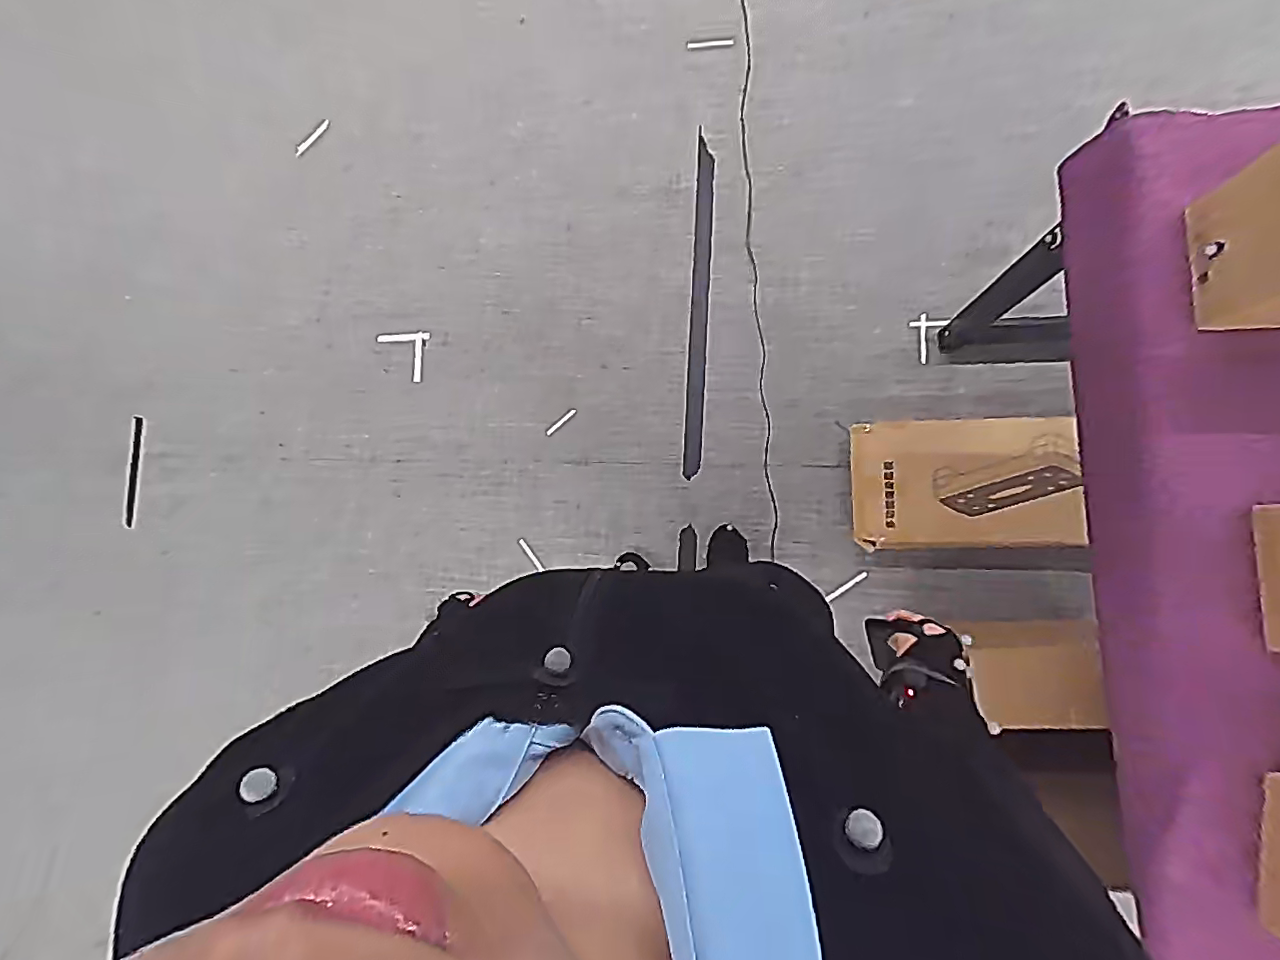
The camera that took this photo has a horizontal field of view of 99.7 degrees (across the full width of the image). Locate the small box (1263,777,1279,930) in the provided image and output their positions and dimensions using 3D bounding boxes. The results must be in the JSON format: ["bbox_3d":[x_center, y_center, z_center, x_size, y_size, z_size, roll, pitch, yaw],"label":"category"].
[{"bbox_3d":[0.796,0.428,0.540,0.168,0.176,0.179,7,86,9],"label":"small box"}]

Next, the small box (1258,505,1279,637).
[{"bbox_3d":[0.821,0.112,0.564,0.168,0.176,0.179,0,85,6],"label":"small box"}]
